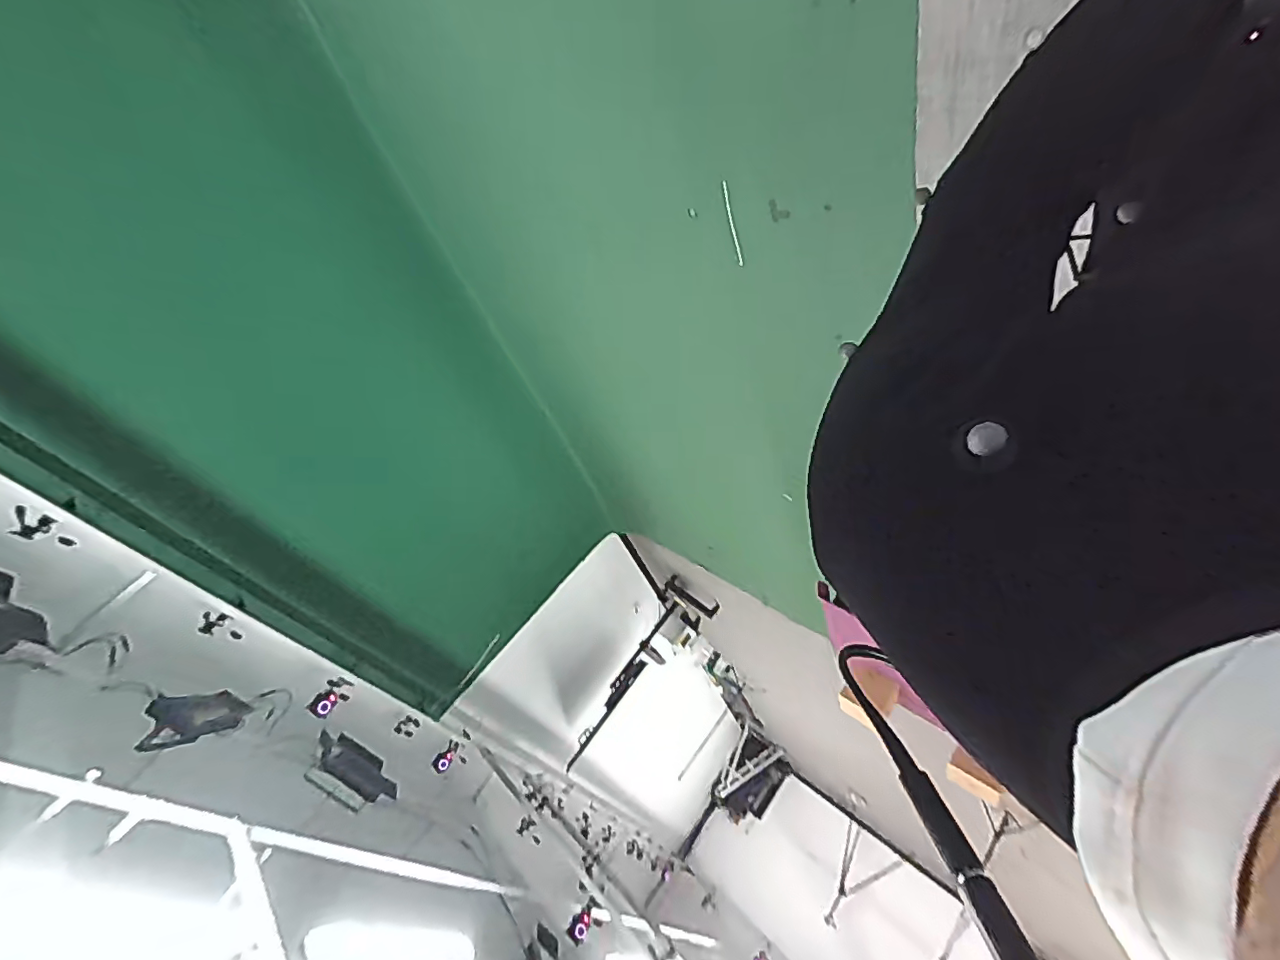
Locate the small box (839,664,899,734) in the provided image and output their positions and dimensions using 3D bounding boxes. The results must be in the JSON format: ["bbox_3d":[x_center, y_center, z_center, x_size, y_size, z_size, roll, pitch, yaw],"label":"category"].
[{"bbox_3d":[0.921,0.873,2.167,0.168,0.176,0.179,25,153,38],"label":"small box"}]

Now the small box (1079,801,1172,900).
[{"bbox_3d":[1.468,1.116,1.637,0.168,0.176,0.179,22,153,45],"label":"small box"}]

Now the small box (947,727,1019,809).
[{"bbox_3d":[1.212,1.014,1.912,0.168,0.176,0.179,23,151,41],"label":"small box"}]
